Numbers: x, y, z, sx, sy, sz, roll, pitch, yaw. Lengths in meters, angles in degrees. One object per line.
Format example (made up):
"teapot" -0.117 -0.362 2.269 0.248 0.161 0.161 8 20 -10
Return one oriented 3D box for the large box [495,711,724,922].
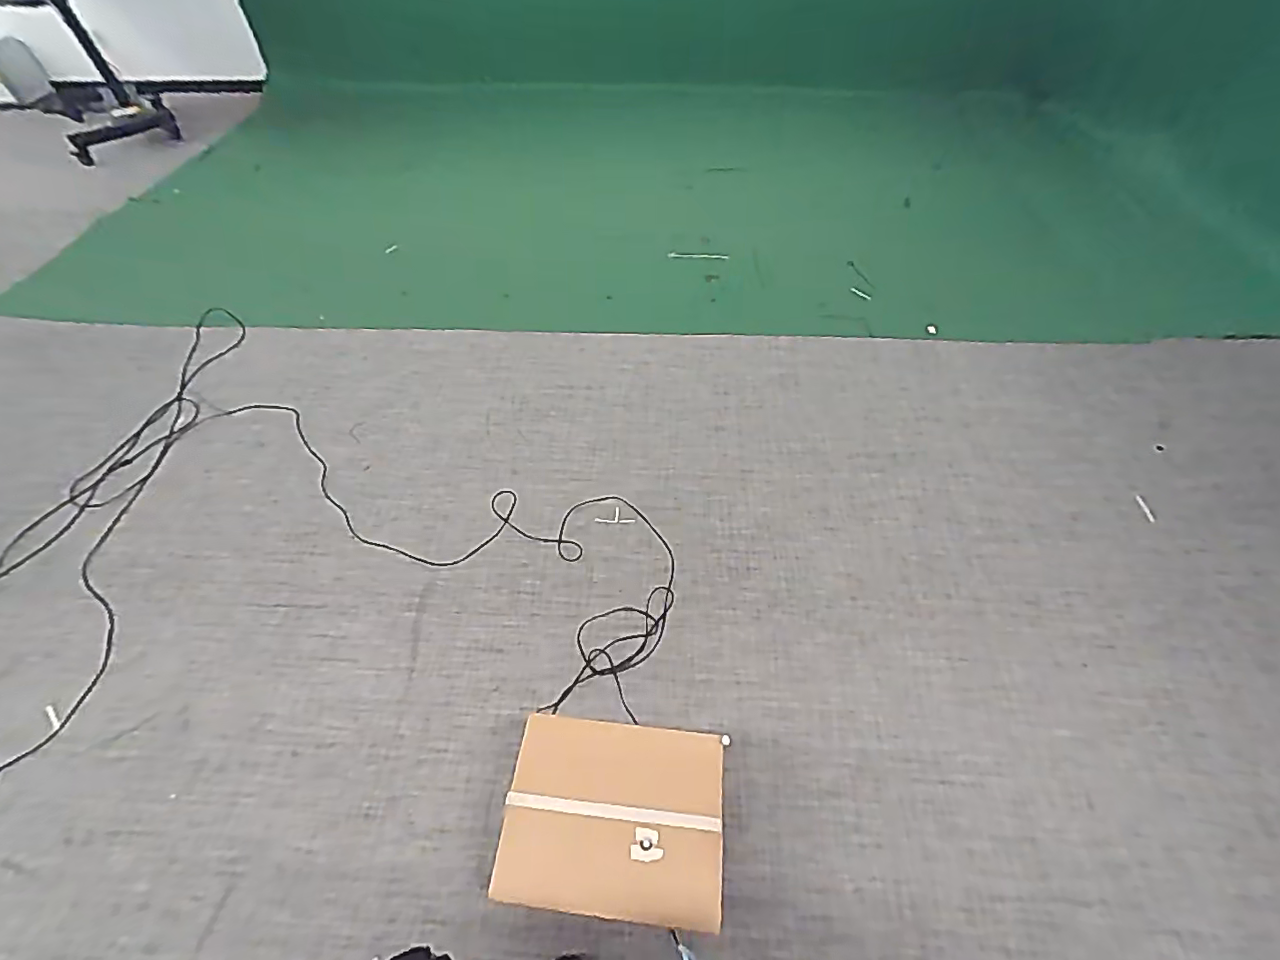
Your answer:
"large box" -0.044 0.704 1.131 0.408 0.320 0.320 5 53 4
